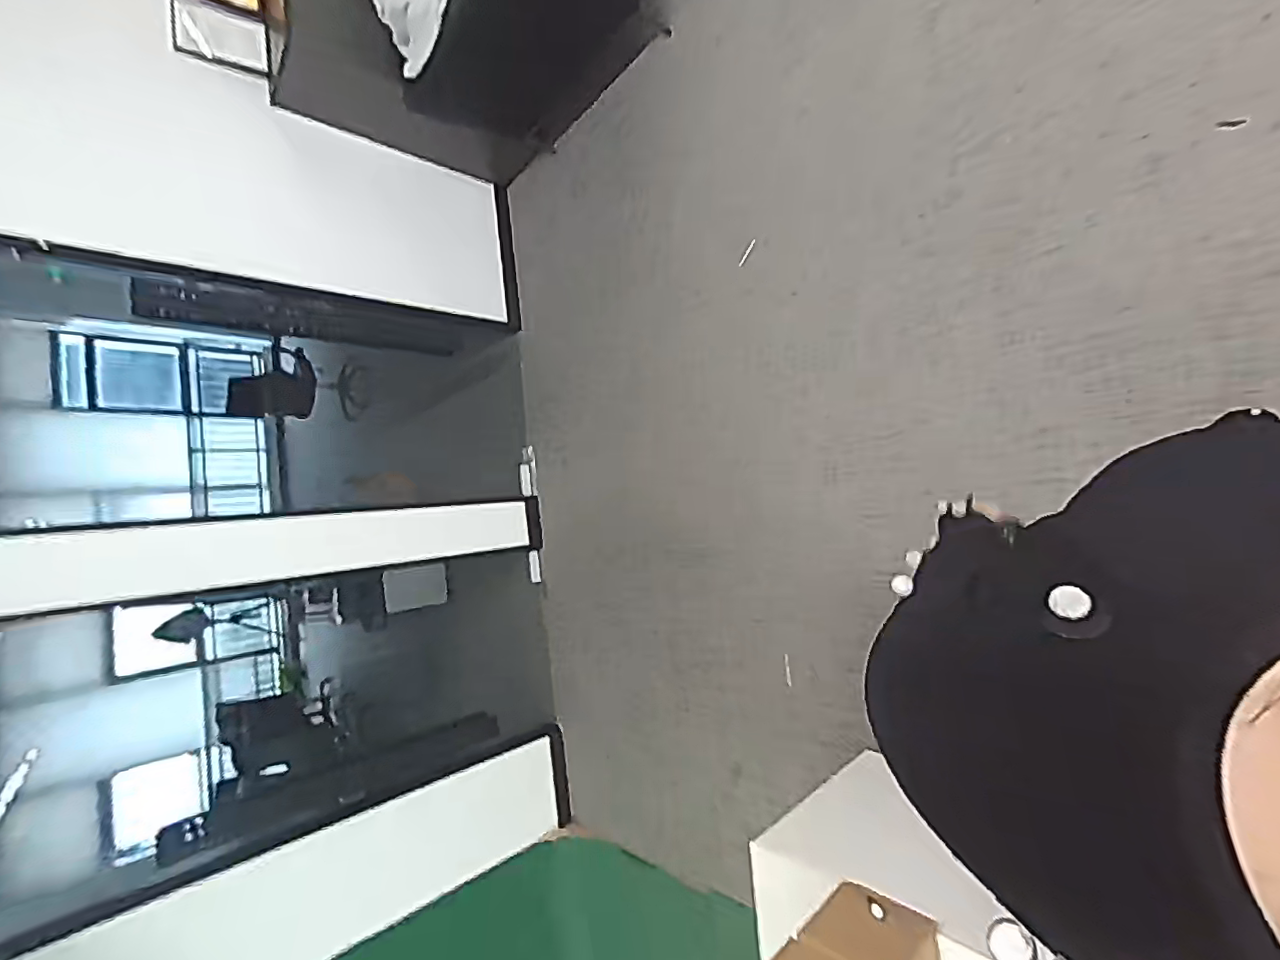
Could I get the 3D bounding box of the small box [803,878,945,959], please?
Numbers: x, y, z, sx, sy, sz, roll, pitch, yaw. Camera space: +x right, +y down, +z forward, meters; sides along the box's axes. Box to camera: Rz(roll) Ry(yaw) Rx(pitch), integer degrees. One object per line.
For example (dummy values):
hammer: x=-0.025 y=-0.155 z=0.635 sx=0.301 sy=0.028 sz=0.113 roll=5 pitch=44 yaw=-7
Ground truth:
small box: x=0.396 y=0.824 z=0.900 sx=0.168 sy=0.176 sz=0.179 roll=-8 pitch=87 yaw=47

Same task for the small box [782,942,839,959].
small box: x=0.273 y=0.838 z=0.790 sx=0.179 sy=0.176 sz=0.168 roll=-12 pitch=83 yaw=47
